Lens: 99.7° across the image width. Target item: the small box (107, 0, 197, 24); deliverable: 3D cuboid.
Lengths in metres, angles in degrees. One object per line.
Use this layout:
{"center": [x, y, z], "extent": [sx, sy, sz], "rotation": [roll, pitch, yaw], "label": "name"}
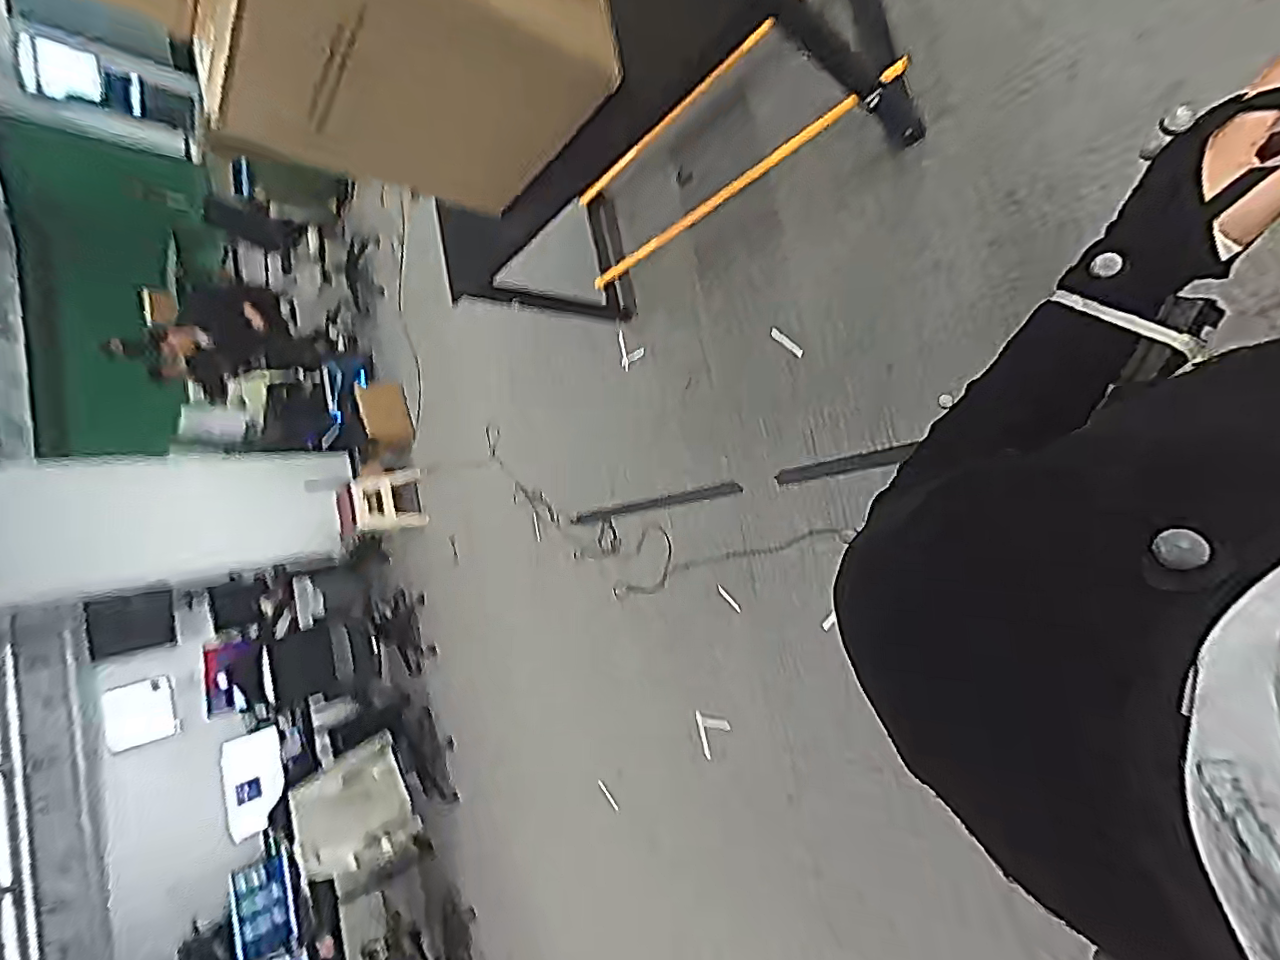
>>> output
{"center": [-0.880, -0.951, 0.939], "extent": [0.168, 0.176, 0.179], "rotation": [-21, 78, 45], "label": "small box"}
